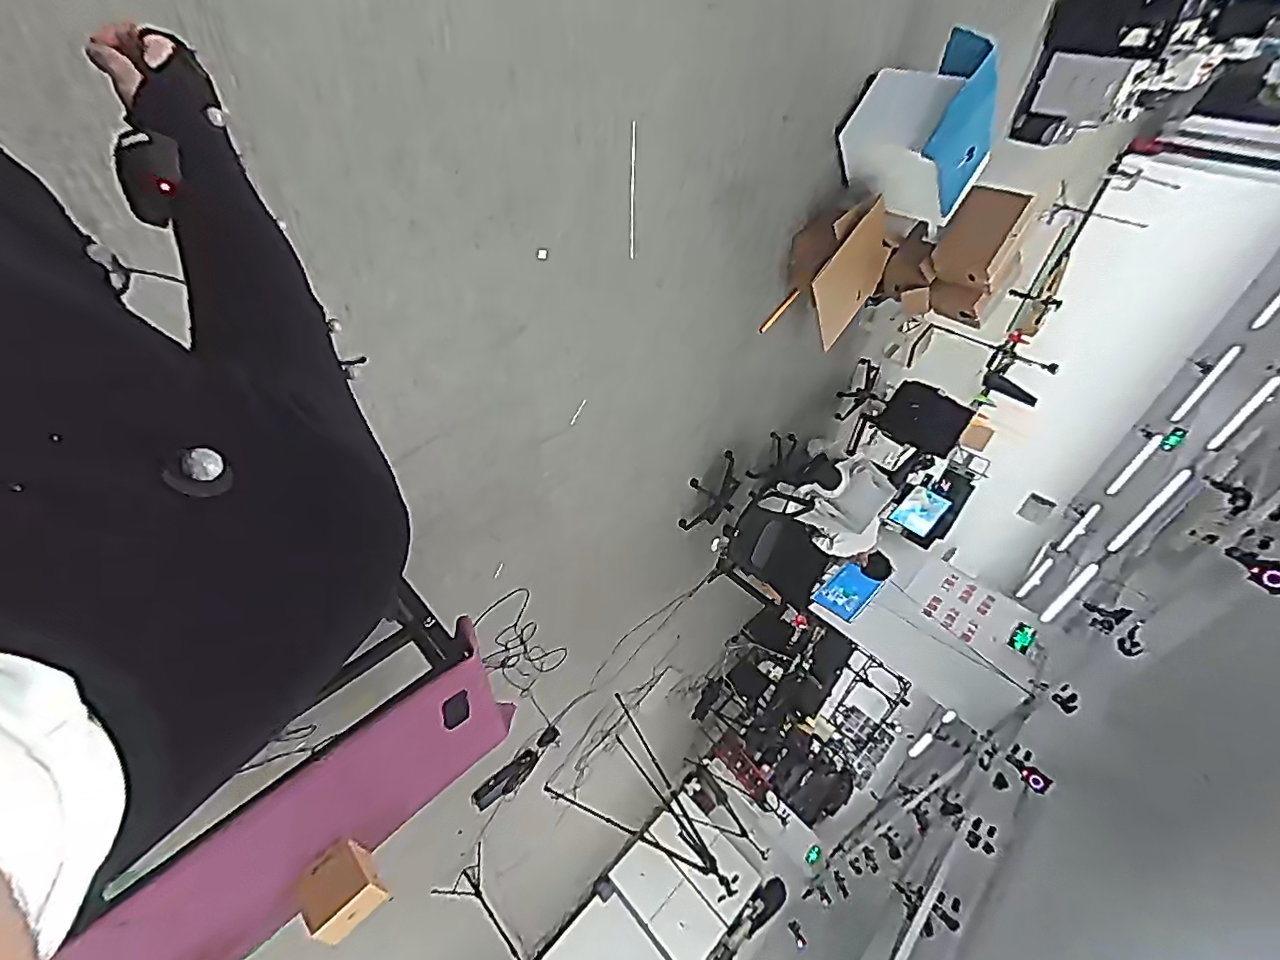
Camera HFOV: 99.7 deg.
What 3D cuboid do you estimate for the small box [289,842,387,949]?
[{"bbox_3d":[-0.864,1.187,1.553,0.168,0.176,0.179,-35,144,-32],"label":"small box"}]
